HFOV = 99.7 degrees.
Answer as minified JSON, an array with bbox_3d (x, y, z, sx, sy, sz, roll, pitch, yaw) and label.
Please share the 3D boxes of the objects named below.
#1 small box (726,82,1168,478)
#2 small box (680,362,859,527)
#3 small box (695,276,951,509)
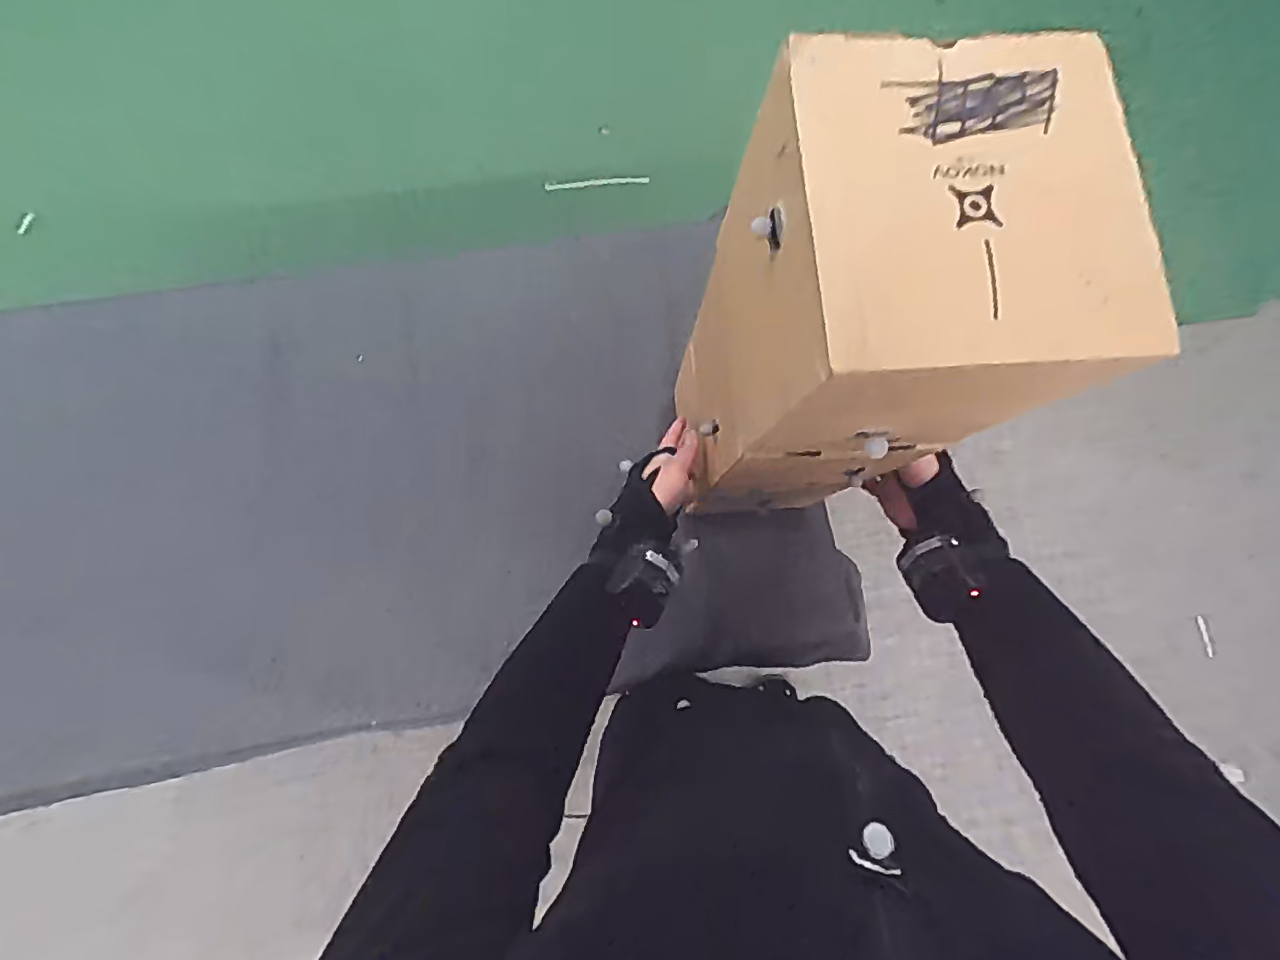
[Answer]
[{"bbox_3d":[0.157,-0.106,0.344,0.168,0.176,0.179,-4,80,-4],"label":"small box"},{"bbox_3d":[0.145,-0.037,0.664,0.168,0.176,0.179,-5,79,-3],"label":"small box"},{"bbox_3d":[0.150,-0.071,0.505,0.168,0.176,0.179,-5,77,-4],"label":"small box"}]
